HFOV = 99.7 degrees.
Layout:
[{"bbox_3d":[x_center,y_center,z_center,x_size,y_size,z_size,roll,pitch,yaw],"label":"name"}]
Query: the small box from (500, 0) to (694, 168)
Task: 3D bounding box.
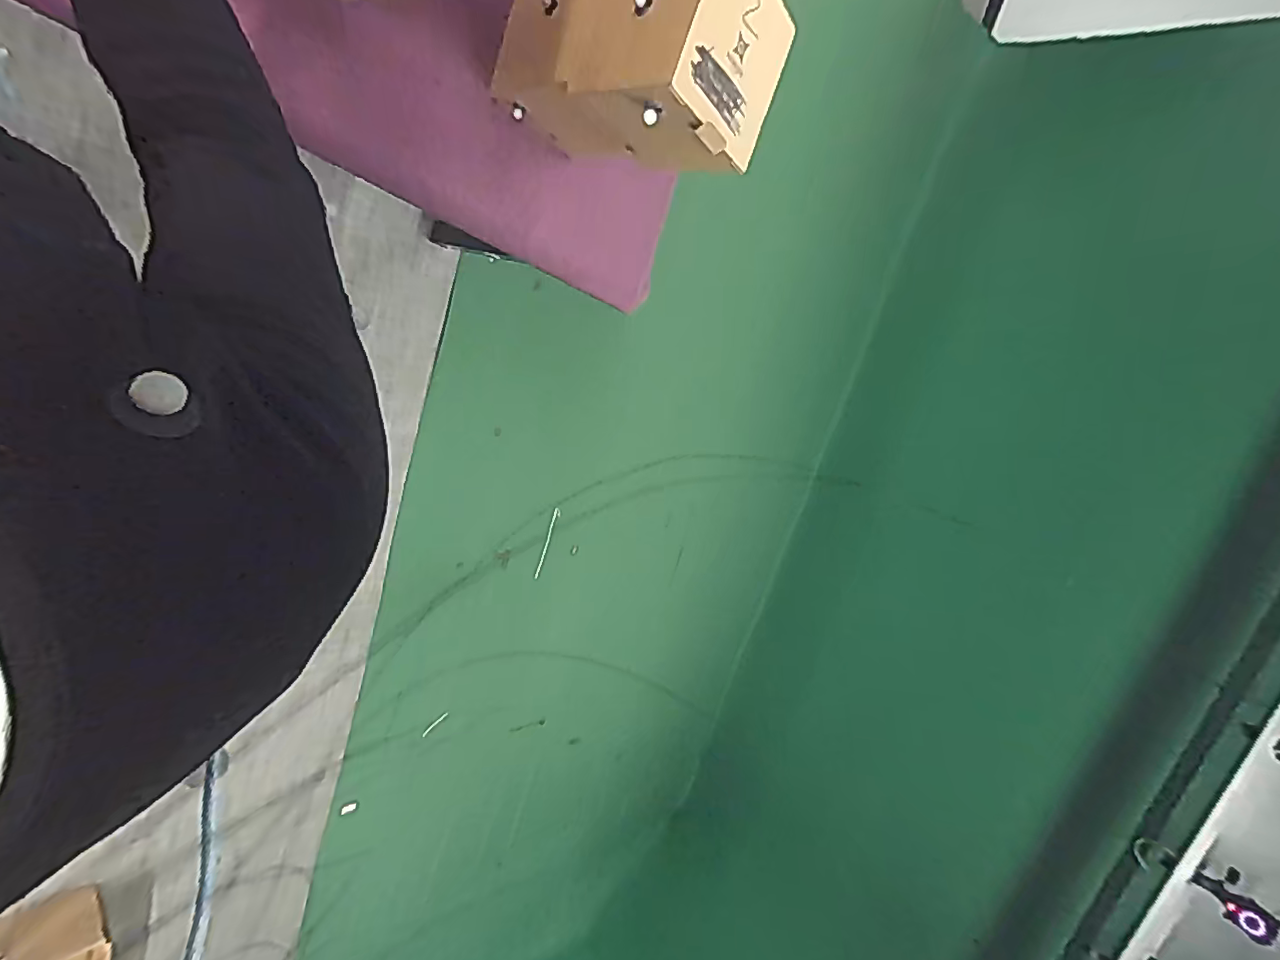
[{"bbox_3d":[-0.063,-0.557,0.733,0.168,0.176,0.179,11,103,-55],"label":"small box"}]
